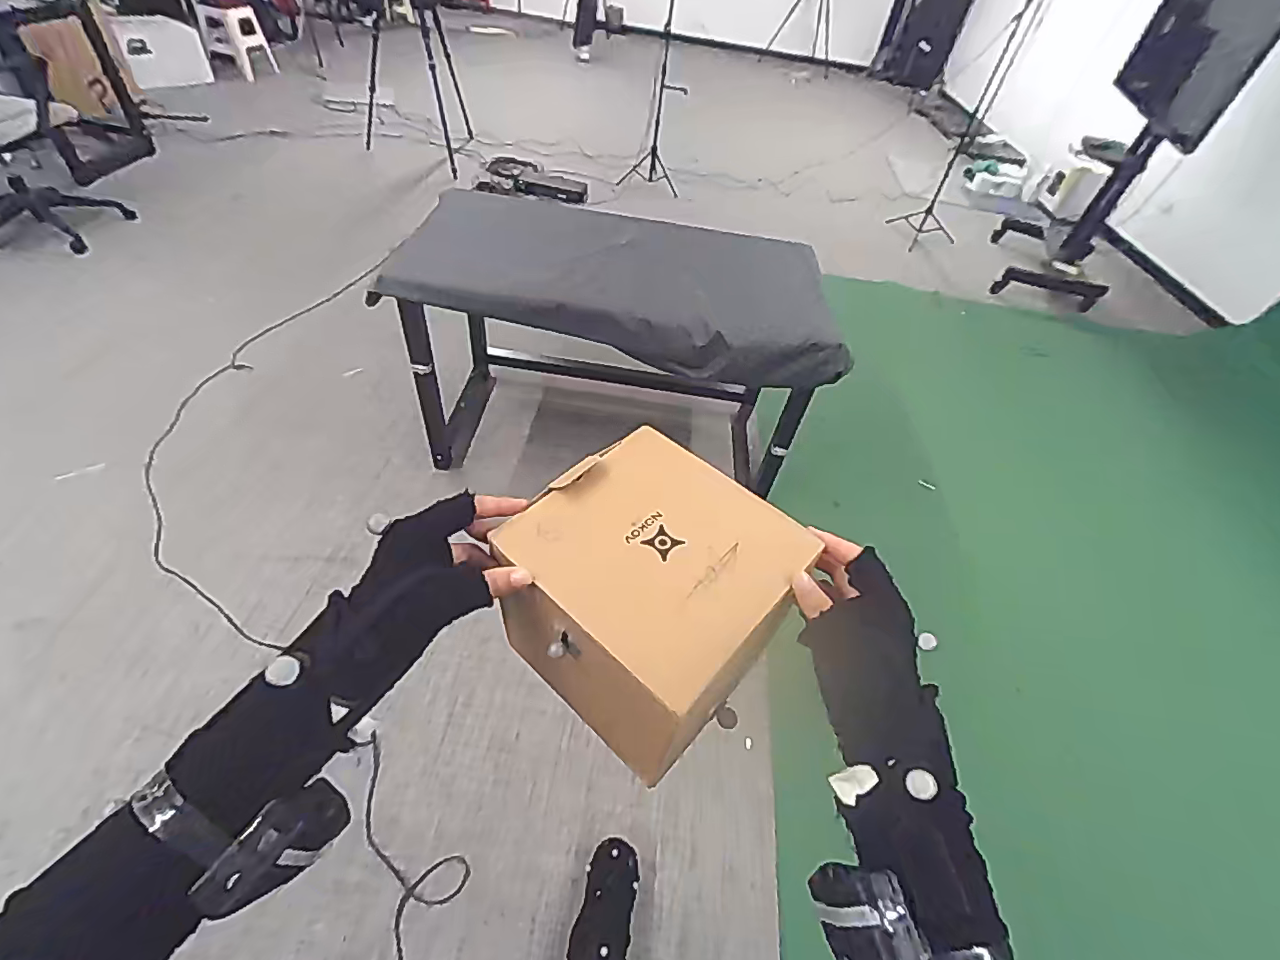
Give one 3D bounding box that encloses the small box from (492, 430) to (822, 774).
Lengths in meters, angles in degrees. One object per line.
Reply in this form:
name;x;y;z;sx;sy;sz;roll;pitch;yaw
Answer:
small box;0.007;0.097;0.435;0.179;0.176;0.168;36;55;24
